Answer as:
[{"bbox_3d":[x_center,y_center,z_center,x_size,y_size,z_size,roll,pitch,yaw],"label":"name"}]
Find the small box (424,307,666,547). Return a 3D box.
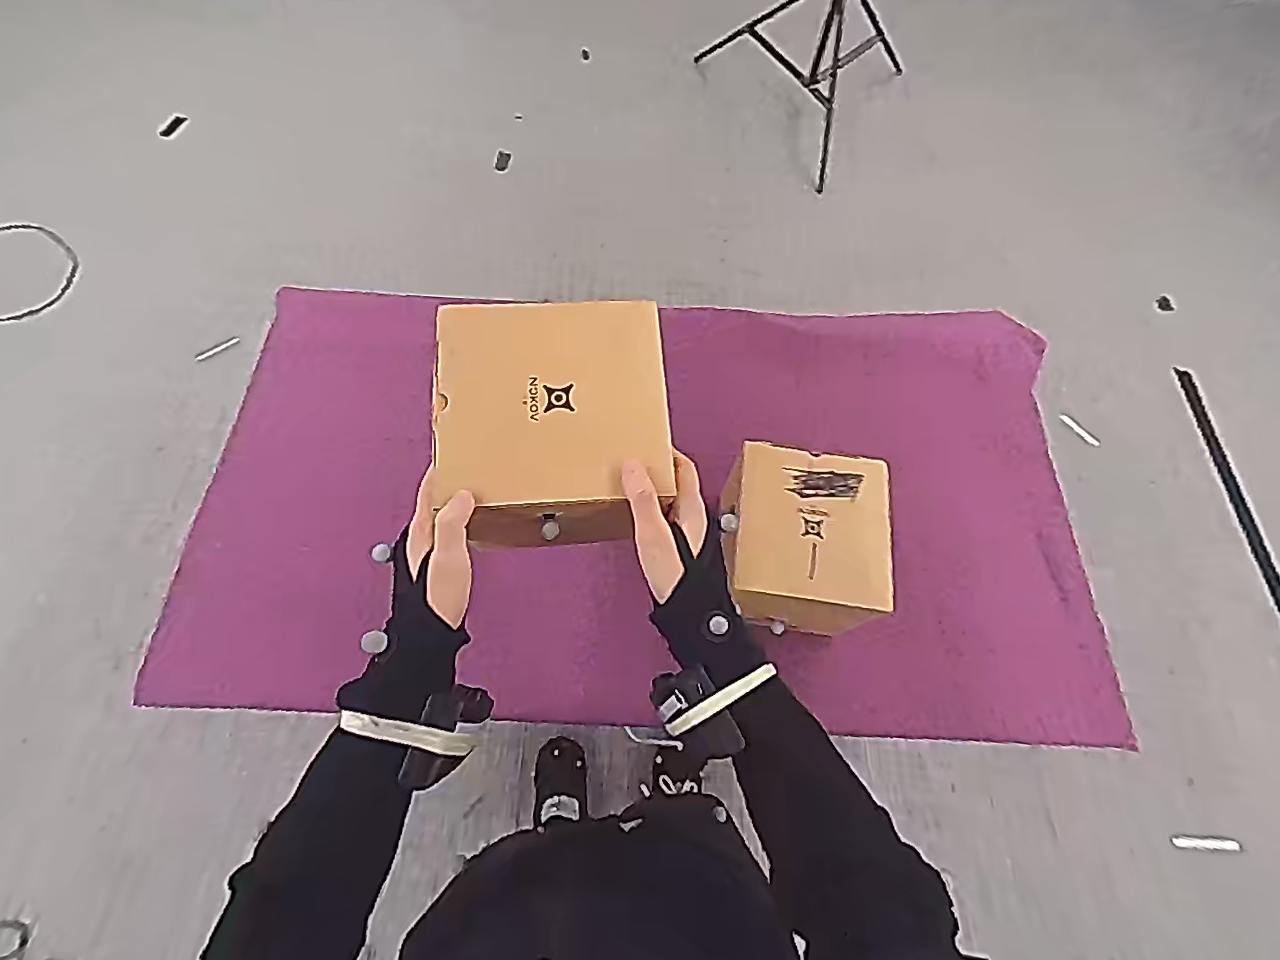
[{"bbox_3d":[-0.079,-0.037,0.488,0.179,0.176,0.168,-4,74,-5],"label":"small box"}]

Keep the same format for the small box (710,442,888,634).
[{"bbox_3d":[0.184,0.078,0.662,0.168,0.176,0.179,9,66,3],"label":"small box"}]
